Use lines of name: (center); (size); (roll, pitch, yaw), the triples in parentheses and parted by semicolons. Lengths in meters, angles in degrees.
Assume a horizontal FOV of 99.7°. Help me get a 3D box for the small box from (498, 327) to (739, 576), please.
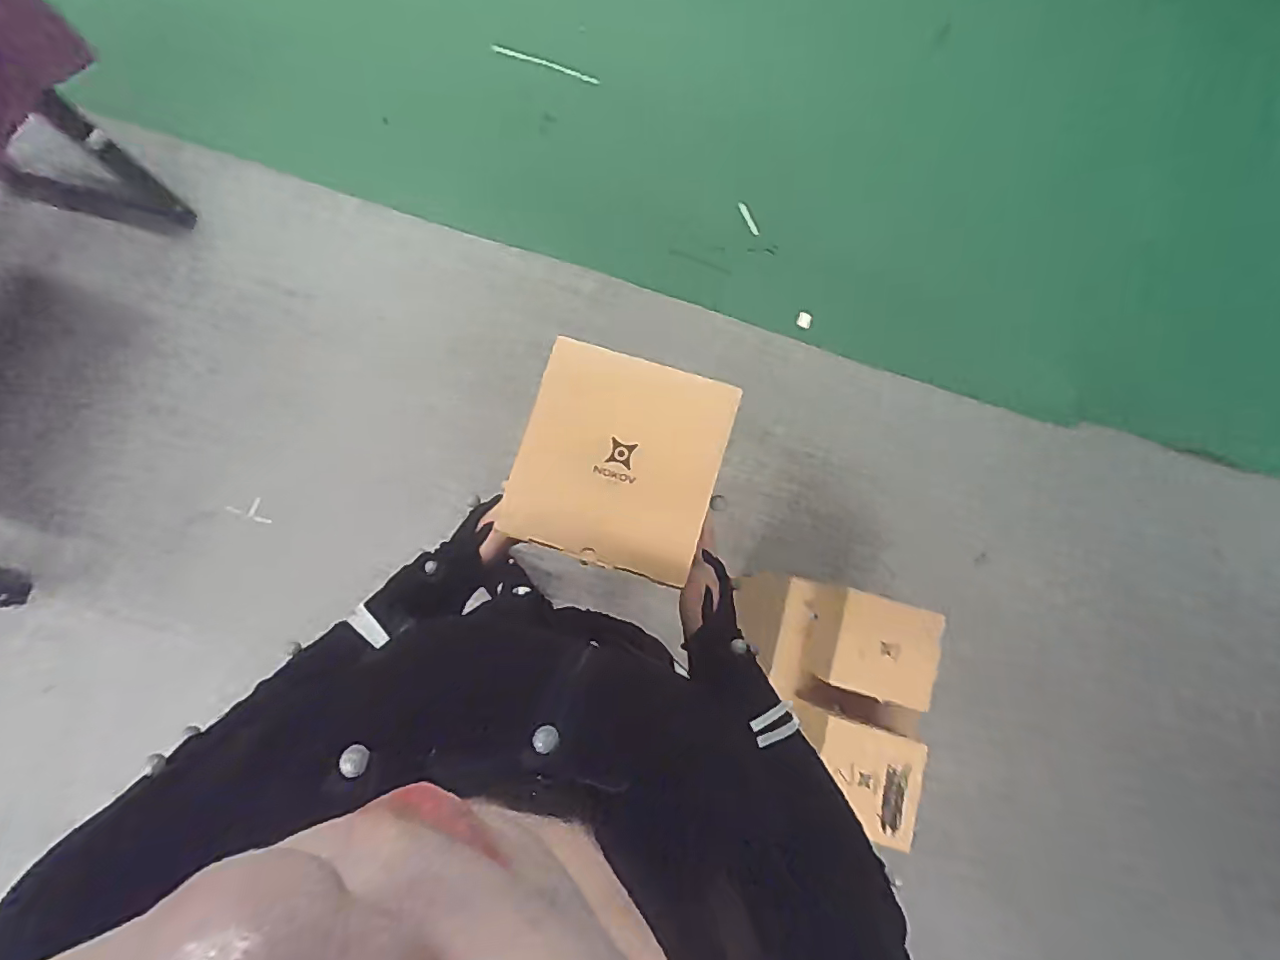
small box: (-0.017, -0.019, 0.532); (0.168, 0.176, 0.179); (17, 85, 2)
